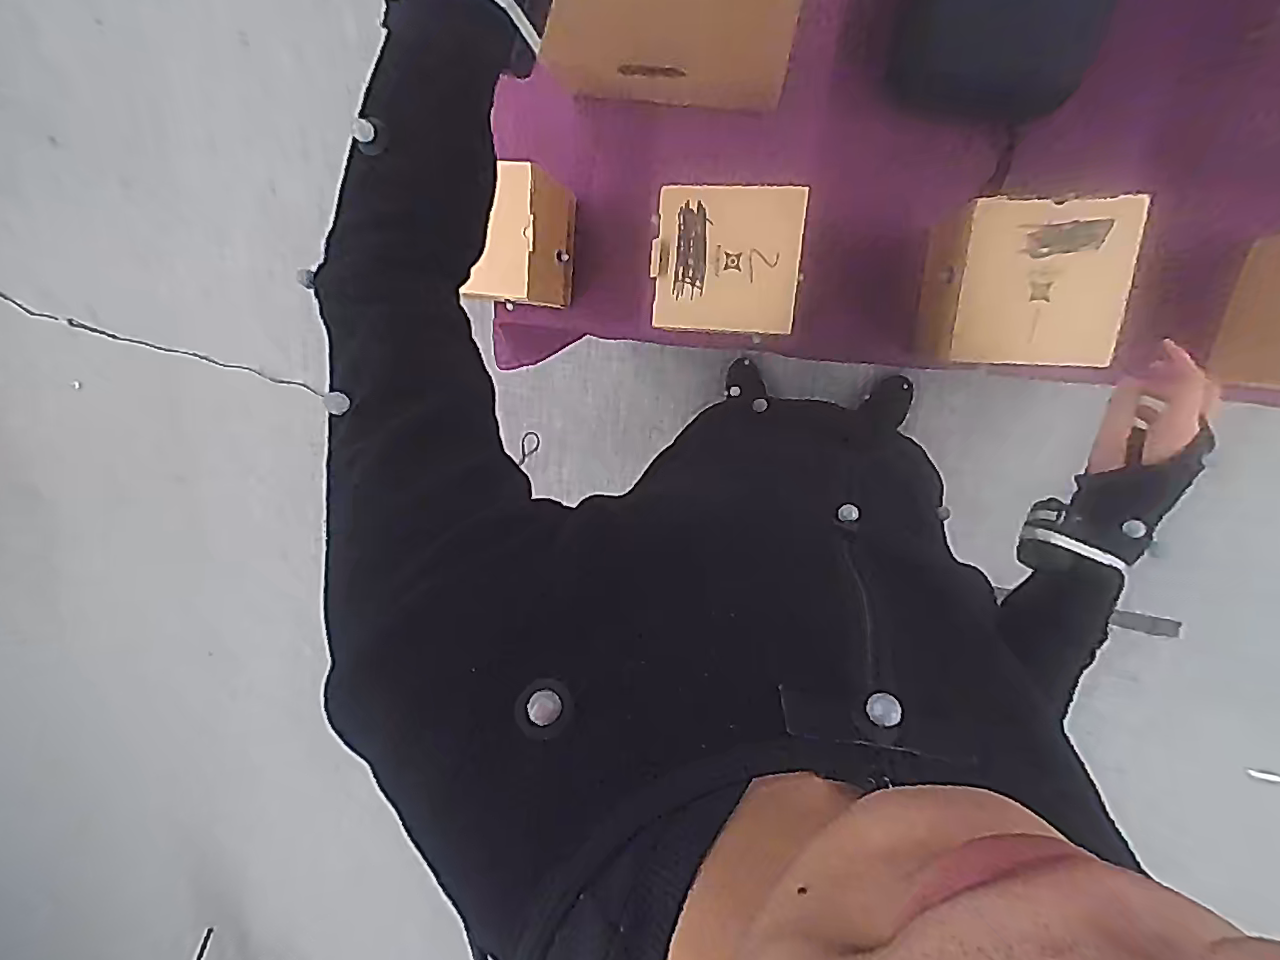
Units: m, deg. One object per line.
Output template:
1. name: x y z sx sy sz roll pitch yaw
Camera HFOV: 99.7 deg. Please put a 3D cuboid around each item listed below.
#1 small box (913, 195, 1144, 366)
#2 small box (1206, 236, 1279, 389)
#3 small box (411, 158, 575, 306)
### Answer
1. small box: 0.456 -0.236 0.670 0.168 0.176 0.179 5 106 12
2. small box: 0.807 -0.185 0.602 0.168 0.176 0.179 10 106 11
3. small box: -0.208 -0.349 0.788 0.179 0.176 0.168 8 106 9
